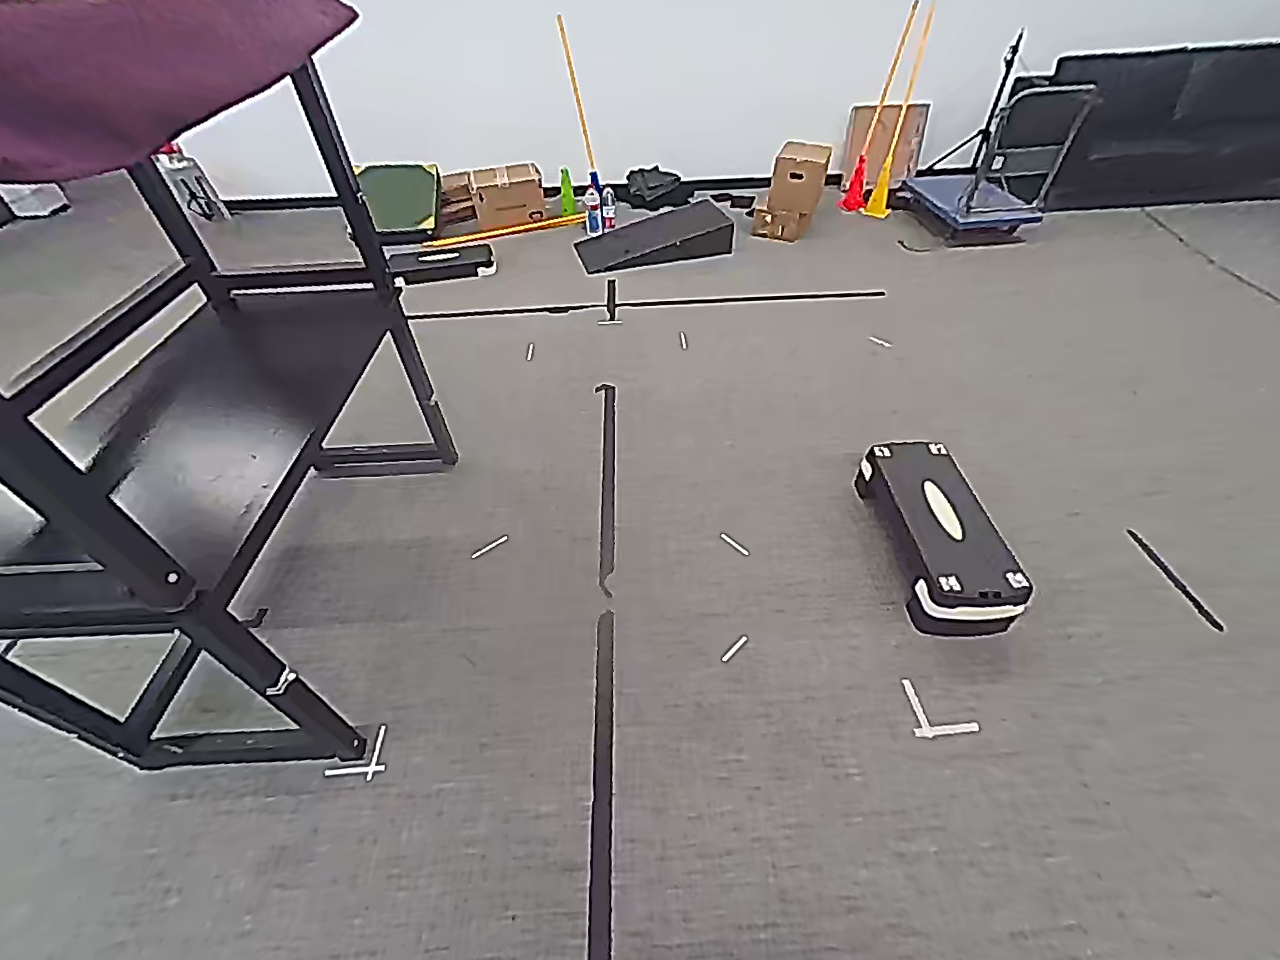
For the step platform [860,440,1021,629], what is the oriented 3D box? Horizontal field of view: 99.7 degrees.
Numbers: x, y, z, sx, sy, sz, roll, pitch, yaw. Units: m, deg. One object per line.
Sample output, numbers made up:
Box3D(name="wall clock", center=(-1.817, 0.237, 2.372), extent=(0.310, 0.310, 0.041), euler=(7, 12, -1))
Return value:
Box3D(name="step platform", center=(0.966, 0.144, 1.805), extent=(0.286, 0.204, 0.684), euler=(1, 44, 4))
